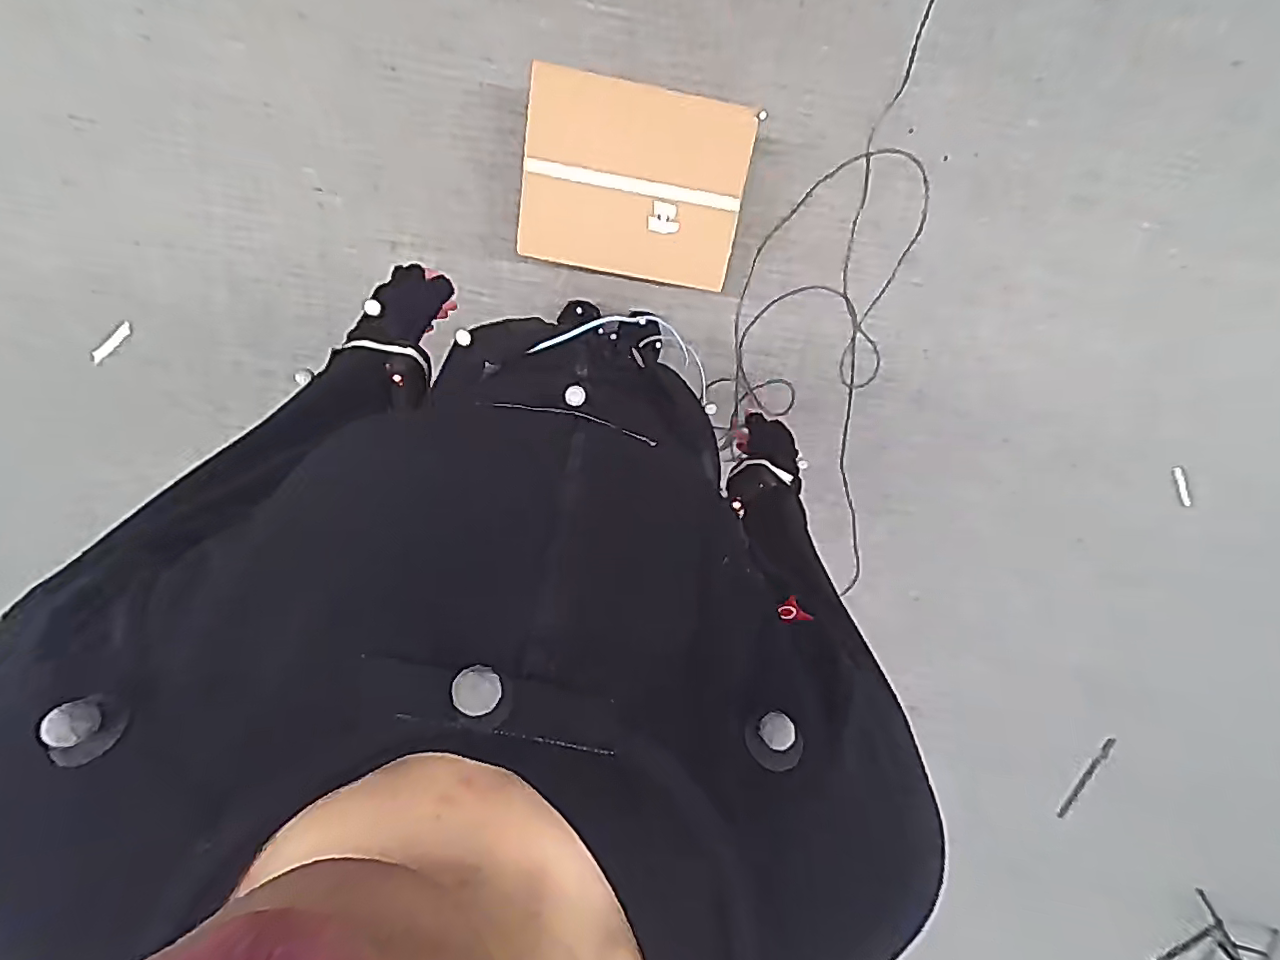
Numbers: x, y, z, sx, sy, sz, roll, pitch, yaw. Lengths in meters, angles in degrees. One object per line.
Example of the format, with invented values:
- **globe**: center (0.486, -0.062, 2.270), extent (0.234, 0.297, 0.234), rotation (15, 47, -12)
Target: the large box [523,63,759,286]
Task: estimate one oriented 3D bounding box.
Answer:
- **large box**: center (-0.011, -0.606, 1.136), extent (0.408, 0.320, 0.320), rotation (9, 112, -5)
